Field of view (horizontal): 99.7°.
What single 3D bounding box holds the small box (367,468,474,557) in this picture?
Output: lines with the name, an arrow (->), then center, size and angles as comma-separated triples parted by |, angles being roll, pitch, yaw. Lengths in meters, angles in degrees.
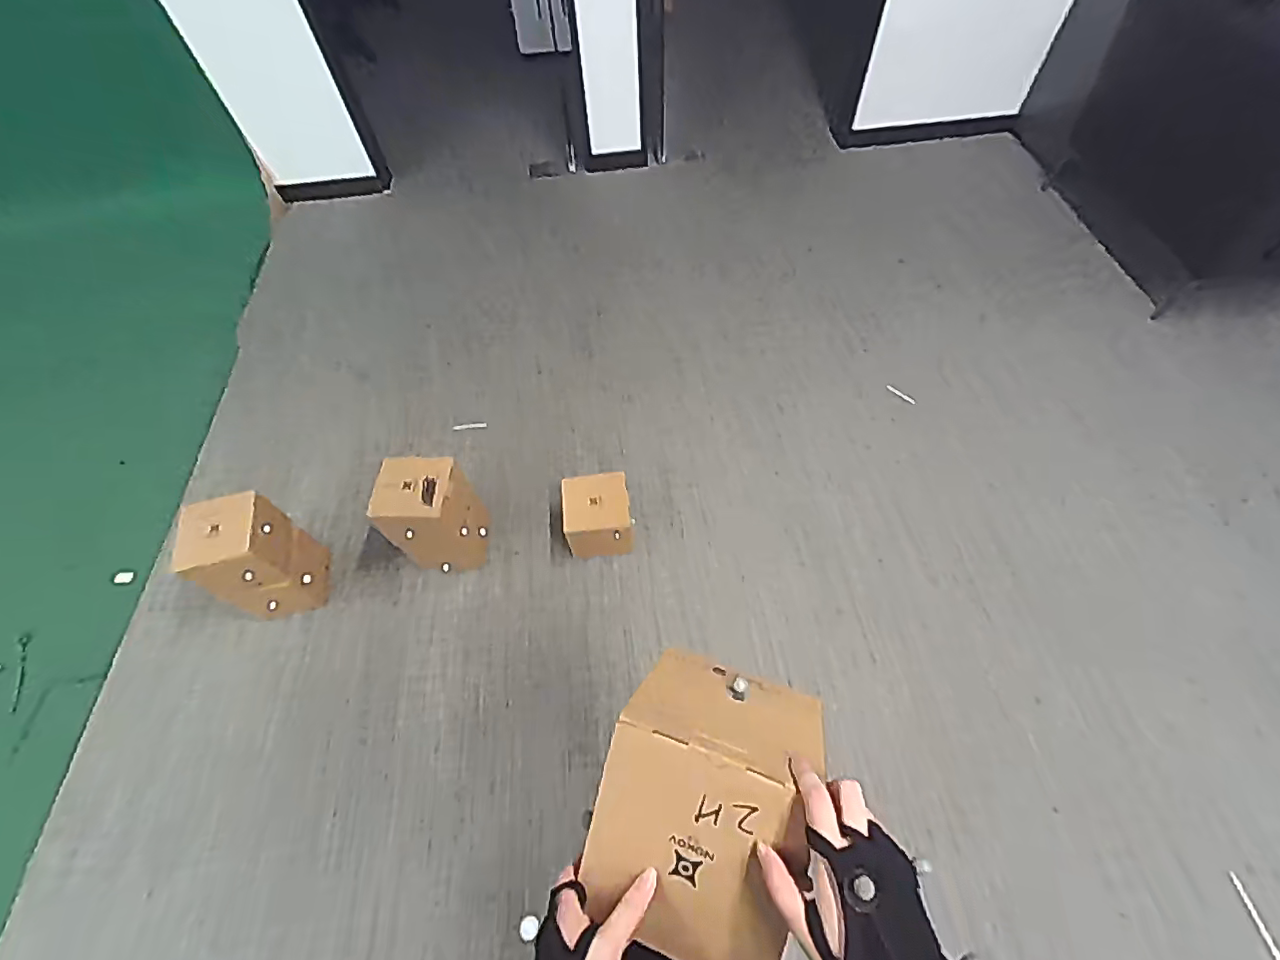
small box -> -0.531, 0.084, 1.341 | 0.179, 0.176, 0.168 | 0, 57, 4

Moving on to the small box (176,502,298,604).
small box -> -0.956, 0.183, 1.300 | 0.168, 0.176, 0.179 | -14, 57, -7

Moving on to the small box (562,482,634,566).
small box -> -0.114, 0.126, 1.492 | 0.179, 0.176, 0.168 | -6, 57, -2

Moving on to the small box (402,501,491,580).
small box -> -0.524, 0.166, 1.485 | 0.179, 0.176, 0.168 | 0, 57, 2

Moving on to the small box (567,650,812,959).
small box -> 0.055, 0.288, 0.501 | 0.168, 0.176, 0.179 | 15, 96, 15
